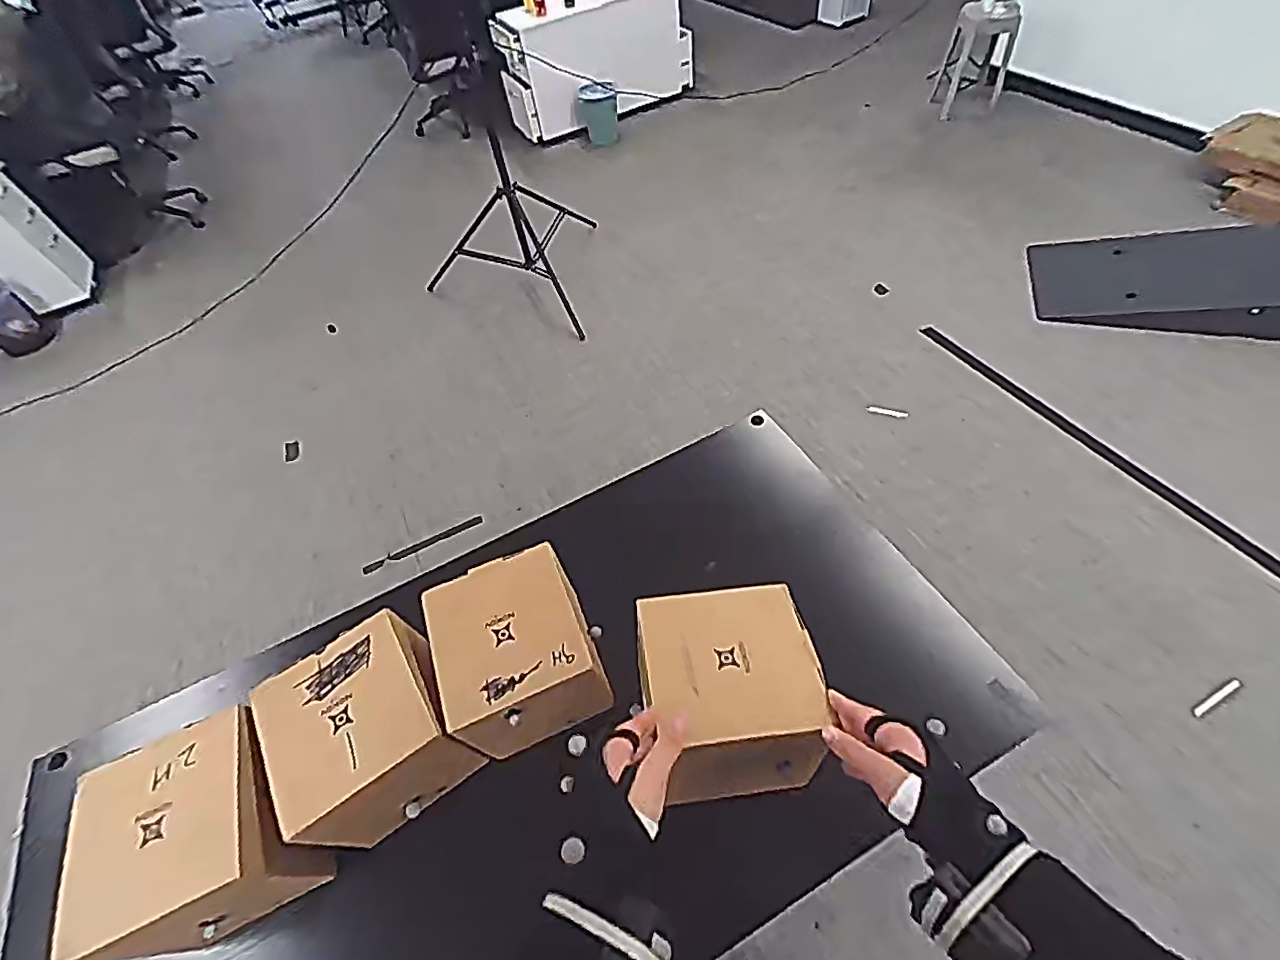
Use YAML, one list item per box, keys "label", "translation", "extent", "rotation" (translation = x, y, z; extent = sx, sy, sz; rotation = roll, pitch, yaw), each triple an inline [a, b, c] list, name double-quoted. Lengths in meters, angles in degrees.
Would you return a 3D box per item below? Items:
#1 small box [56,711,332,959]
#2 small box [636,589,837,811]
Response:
- label: "small box"
  translation: [-0.471, 0.395, 0.604]
  extent: [0.168, 0.176, 0.179]
  rotation: [-24, 54, -11]
- label: "small box"
  translation: [0.091, 0.247, 0.608]
  extent: [0.179, 0.176, 0.168]
  rotation: [-7, 43, -5]
